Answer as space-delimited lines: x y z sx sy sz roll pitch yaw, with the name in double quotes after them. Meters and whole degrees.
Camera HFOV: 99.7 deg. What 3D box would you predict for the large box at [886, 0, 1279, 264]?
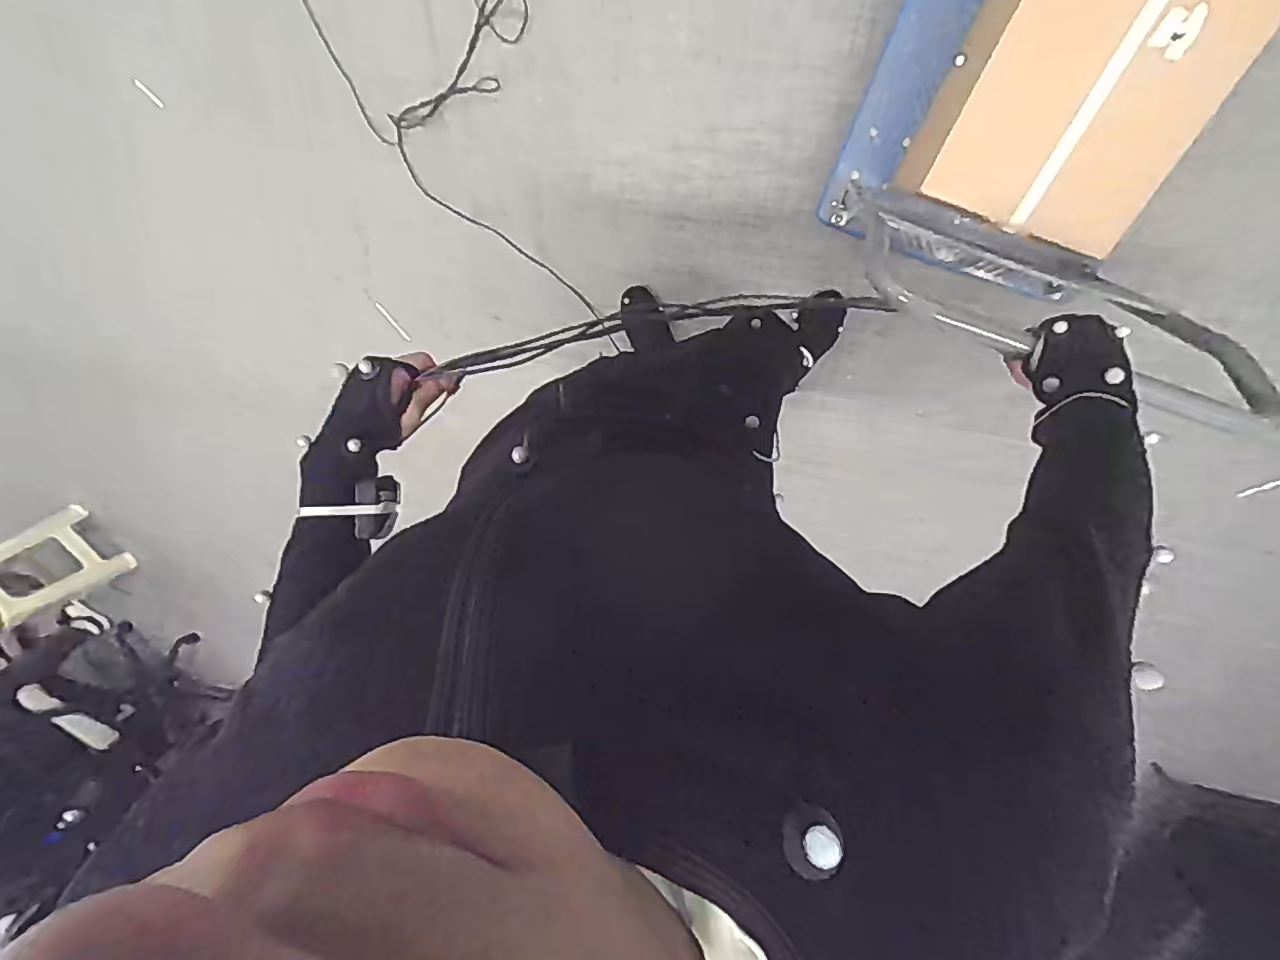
0.681 -0.631 0.913 0.320 0.320 0.408 23 120 1 "large box"
